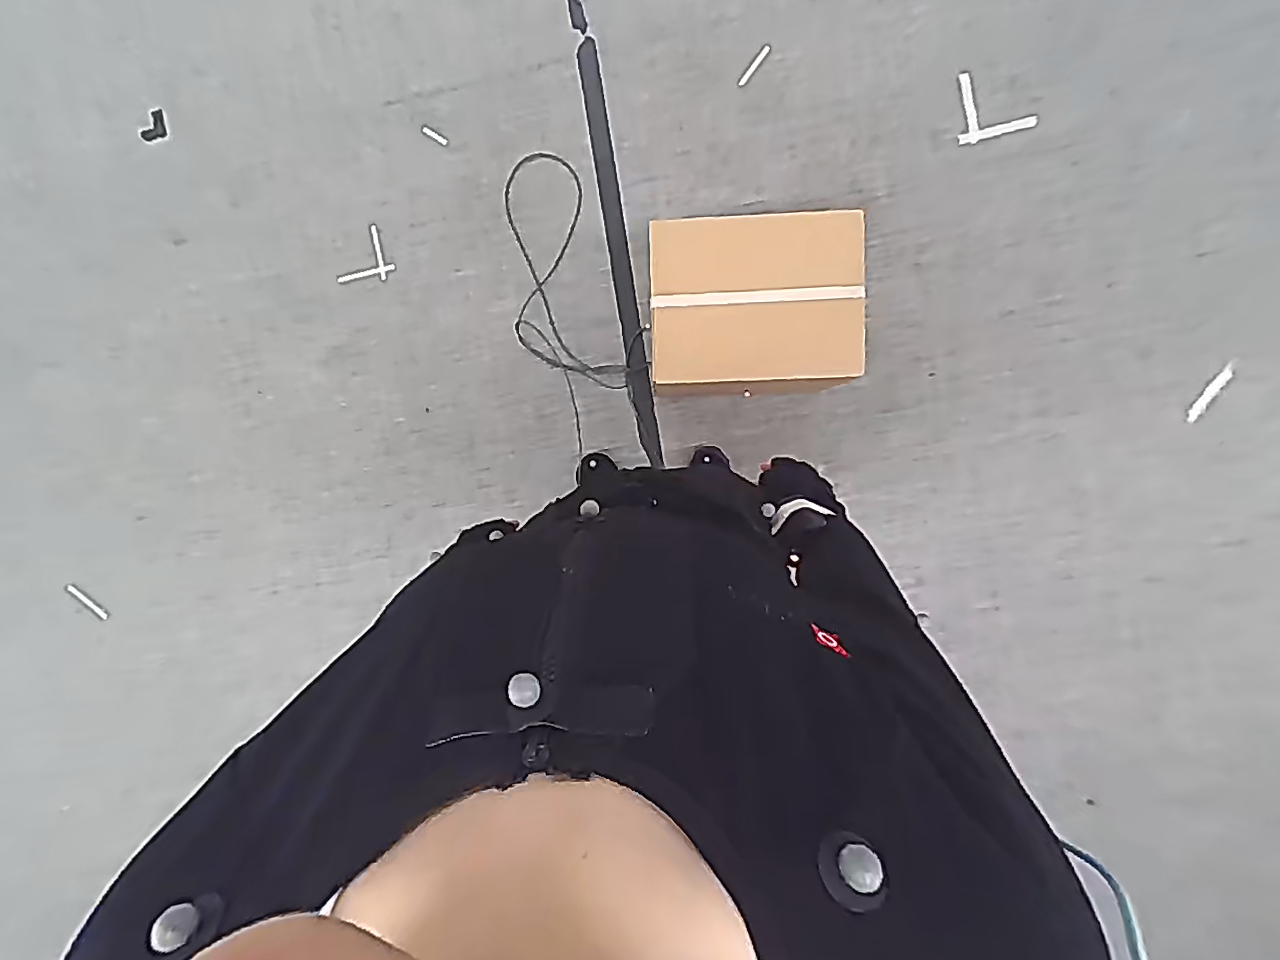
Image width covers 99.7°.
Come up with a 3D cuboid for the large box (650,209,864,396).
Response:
[{"bbox_3d":[0.233,-0.361,1.188,0.408,0.320,0.320,-2,94,3],"label":"large box"}]
